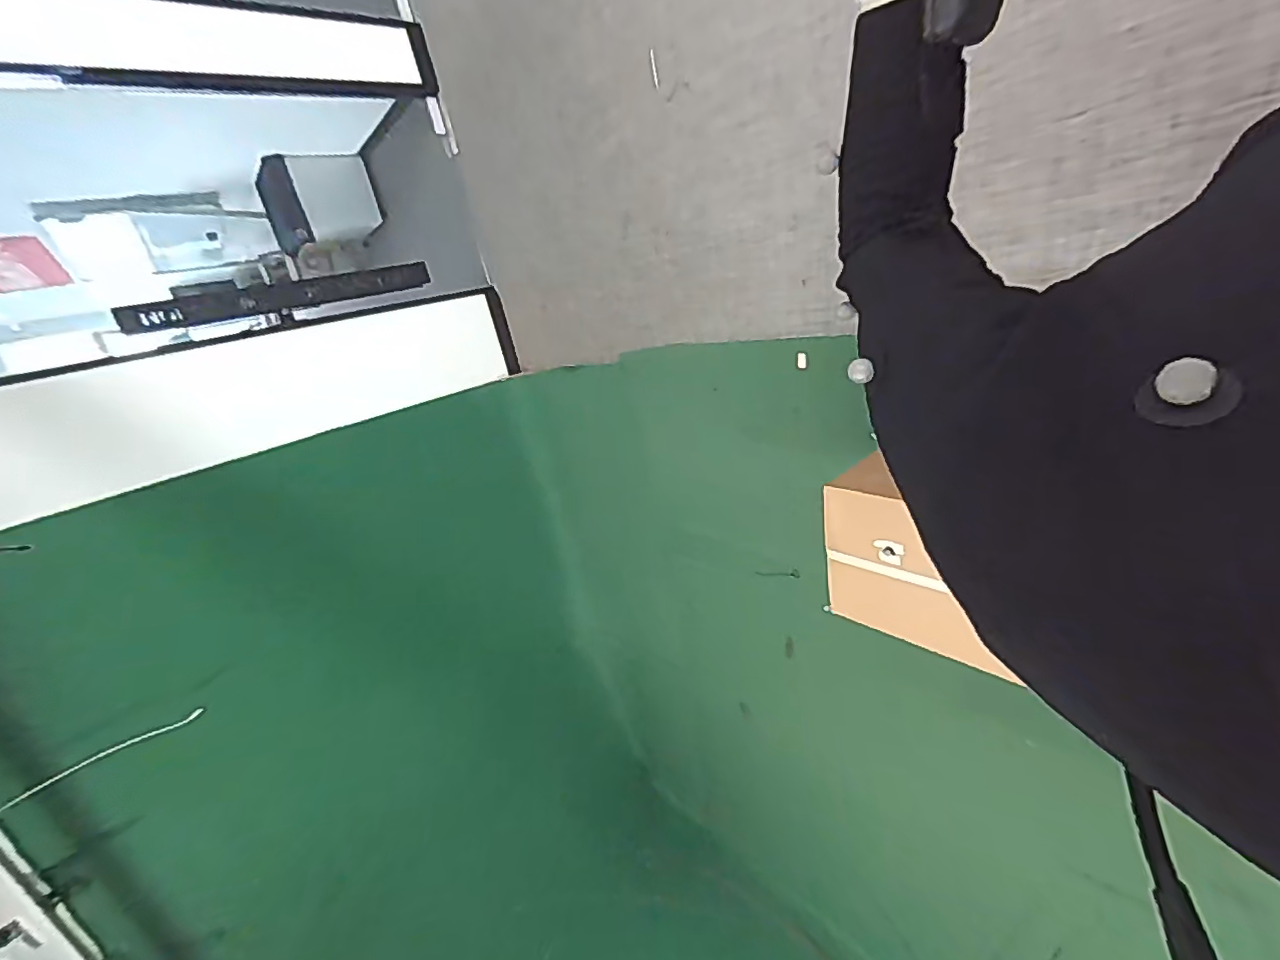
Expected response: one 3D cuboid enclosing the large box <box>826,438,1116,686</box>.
[{"bbox_3d":[0.639,0.122,1.075,0.408,0.320,0.320,15,122,49],"label":"large box"}]
